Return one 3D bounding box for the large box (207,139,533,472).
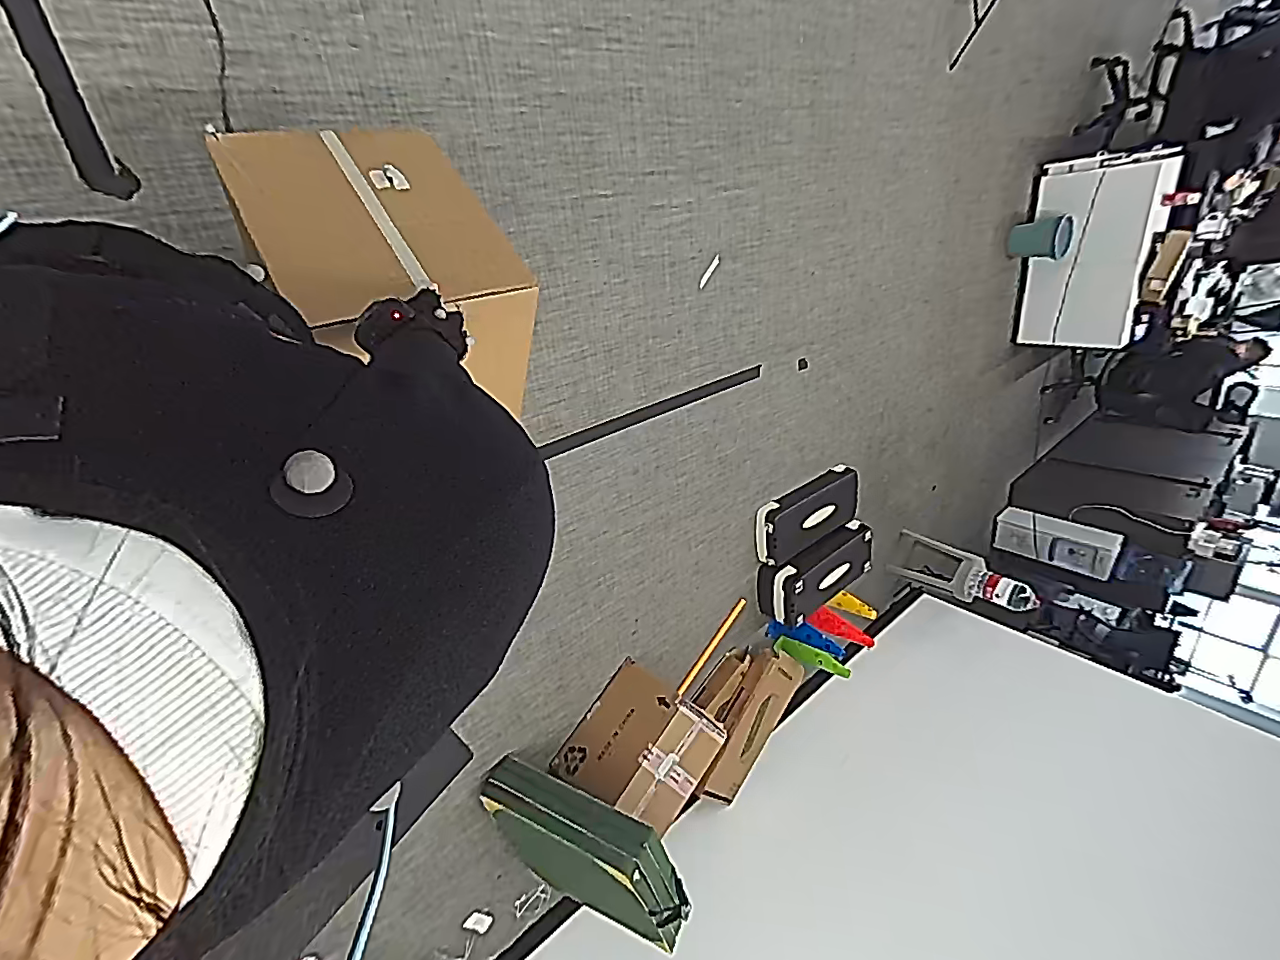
[{"bbox_3d":[-0.421,-0.291,0.894,0.320,0.408,0.320,-24,157,-31],"label":"large box"}]
